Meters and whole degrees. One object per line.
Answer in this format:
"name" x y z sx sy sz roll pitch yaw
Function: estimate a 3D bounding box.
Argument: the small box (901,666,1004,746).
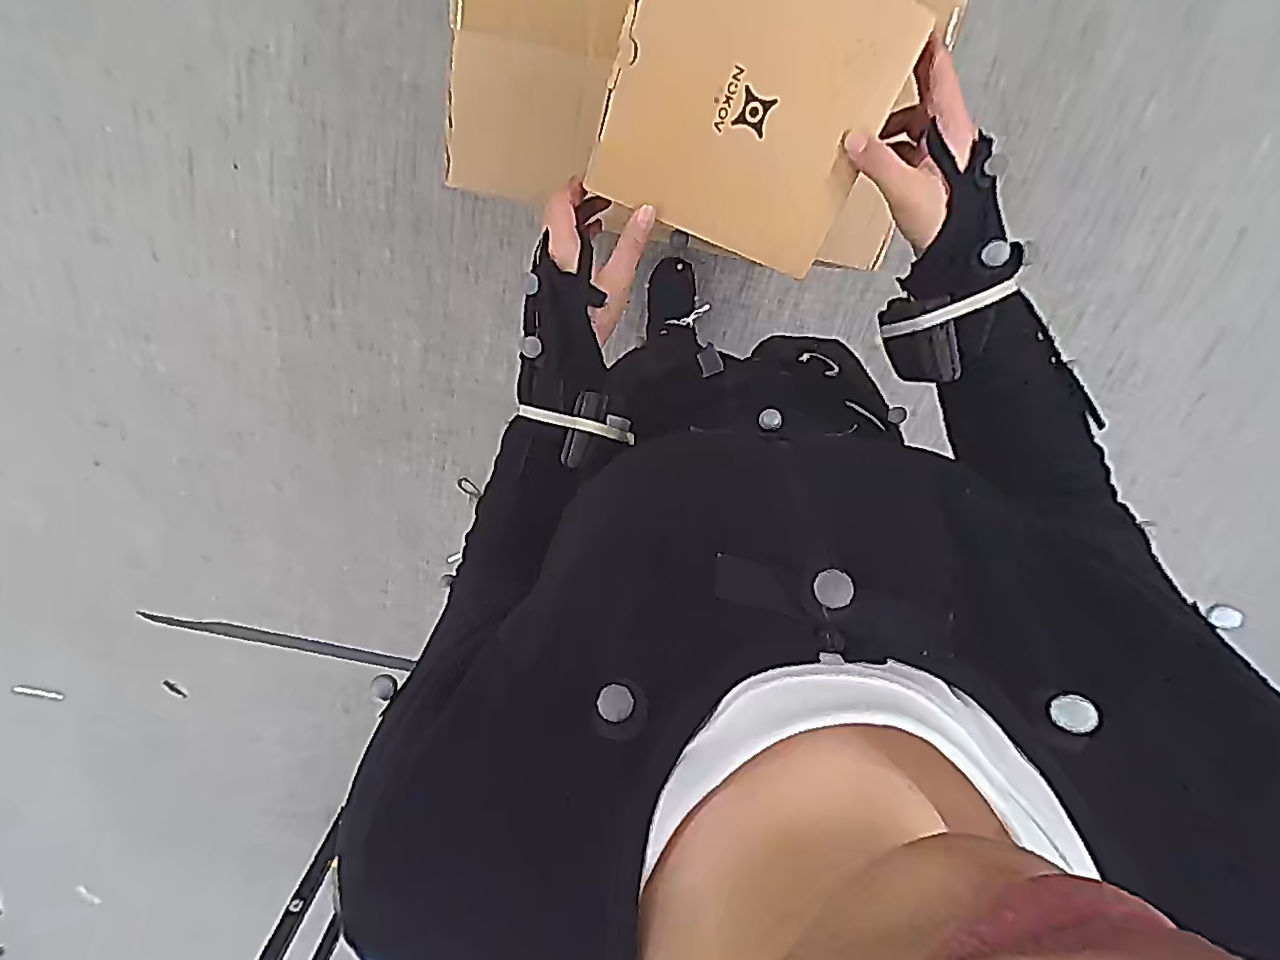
"small box" 0.917 0.679 1.604 0.179 0.176 0.168 12 112 -3

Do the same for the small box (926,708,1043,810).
"small box" 0.913 0.743 1.452 0.179 0.176 0.168 11 112 -3
